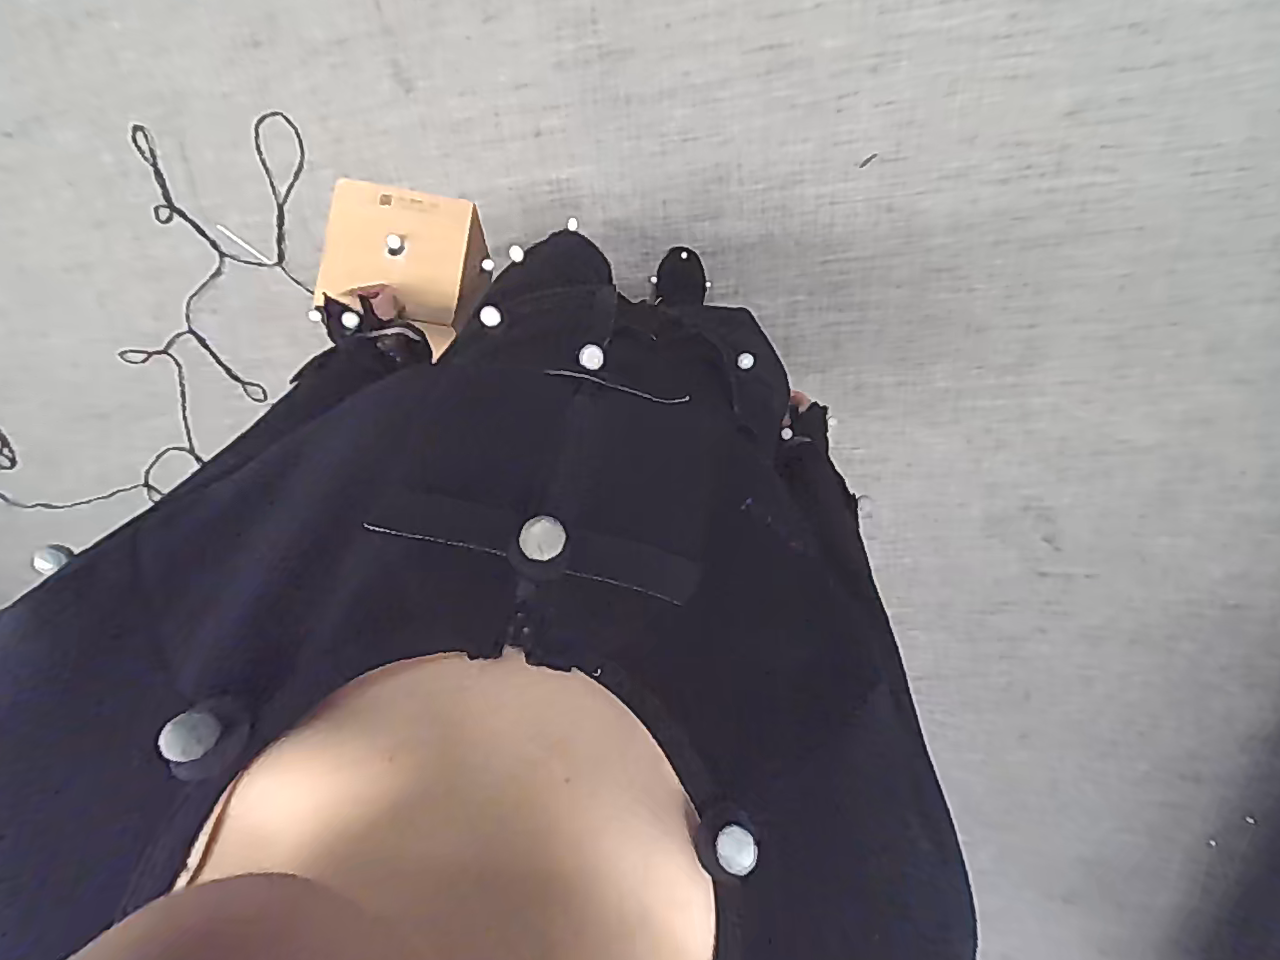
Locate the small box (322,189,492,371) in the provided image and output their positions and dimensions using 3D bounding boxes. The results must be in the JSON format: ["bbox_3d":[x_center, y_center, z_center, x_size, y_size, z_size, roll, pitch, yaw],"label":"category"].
[{"bbox_3d":[-0.305,-0.265,0.743,0.168,0.179,0.176,7,83,-6],"label":"small box"}]
